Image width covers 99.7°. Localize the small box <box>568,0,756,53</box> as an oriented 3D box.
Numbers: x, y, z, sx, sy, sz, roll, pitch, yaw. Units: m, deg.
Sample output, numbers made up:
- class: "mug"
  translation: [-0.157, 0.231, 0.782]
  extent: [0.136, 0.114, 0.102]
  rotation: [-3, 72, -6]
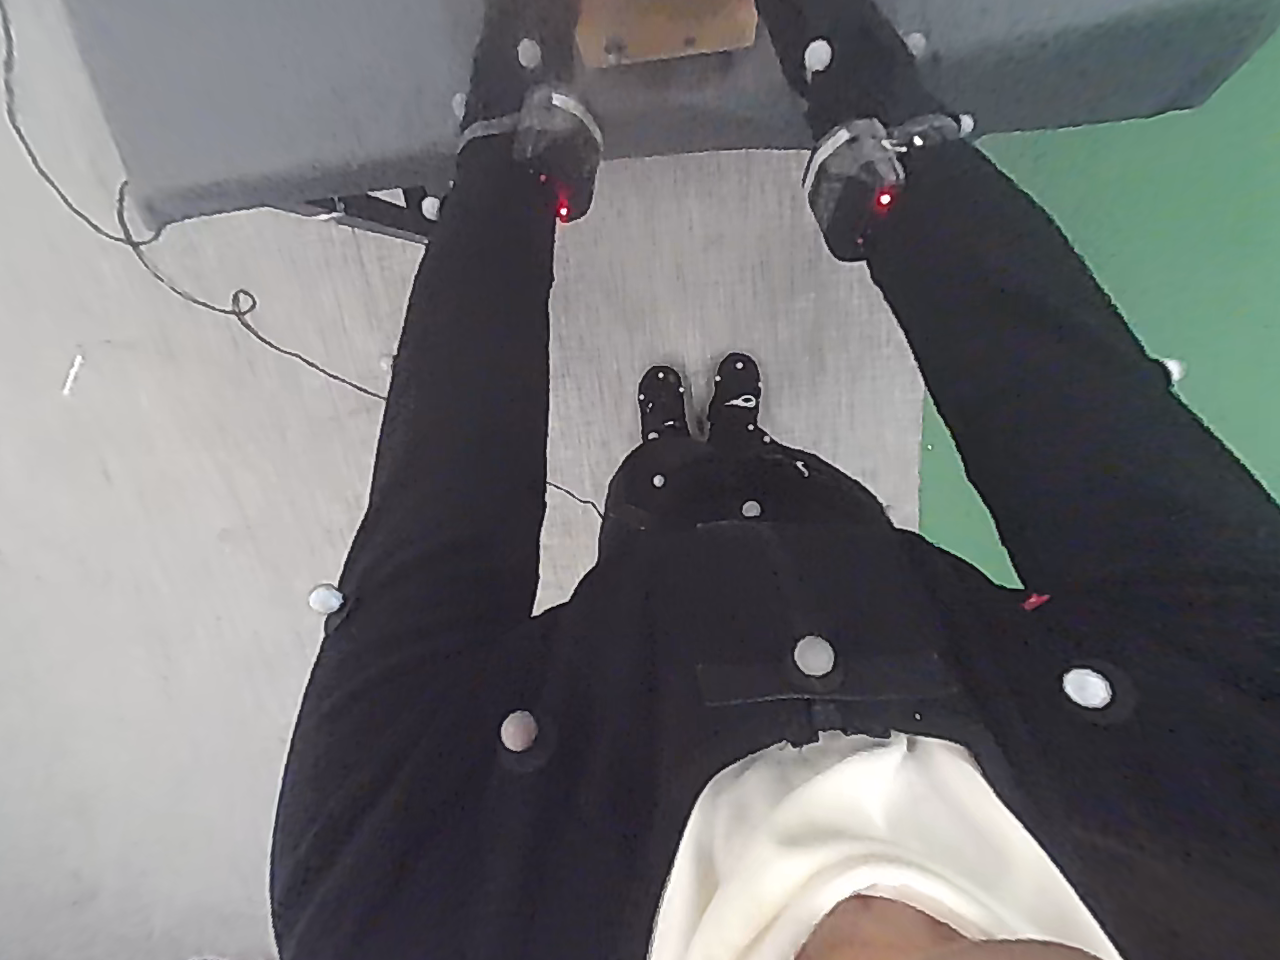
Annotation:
- class: "small box"
  translation: [0.015, -0.491, 0.443]
  extent: [0.168, 0.176, 0.179]
  rotation: [-2, 98, 6]
